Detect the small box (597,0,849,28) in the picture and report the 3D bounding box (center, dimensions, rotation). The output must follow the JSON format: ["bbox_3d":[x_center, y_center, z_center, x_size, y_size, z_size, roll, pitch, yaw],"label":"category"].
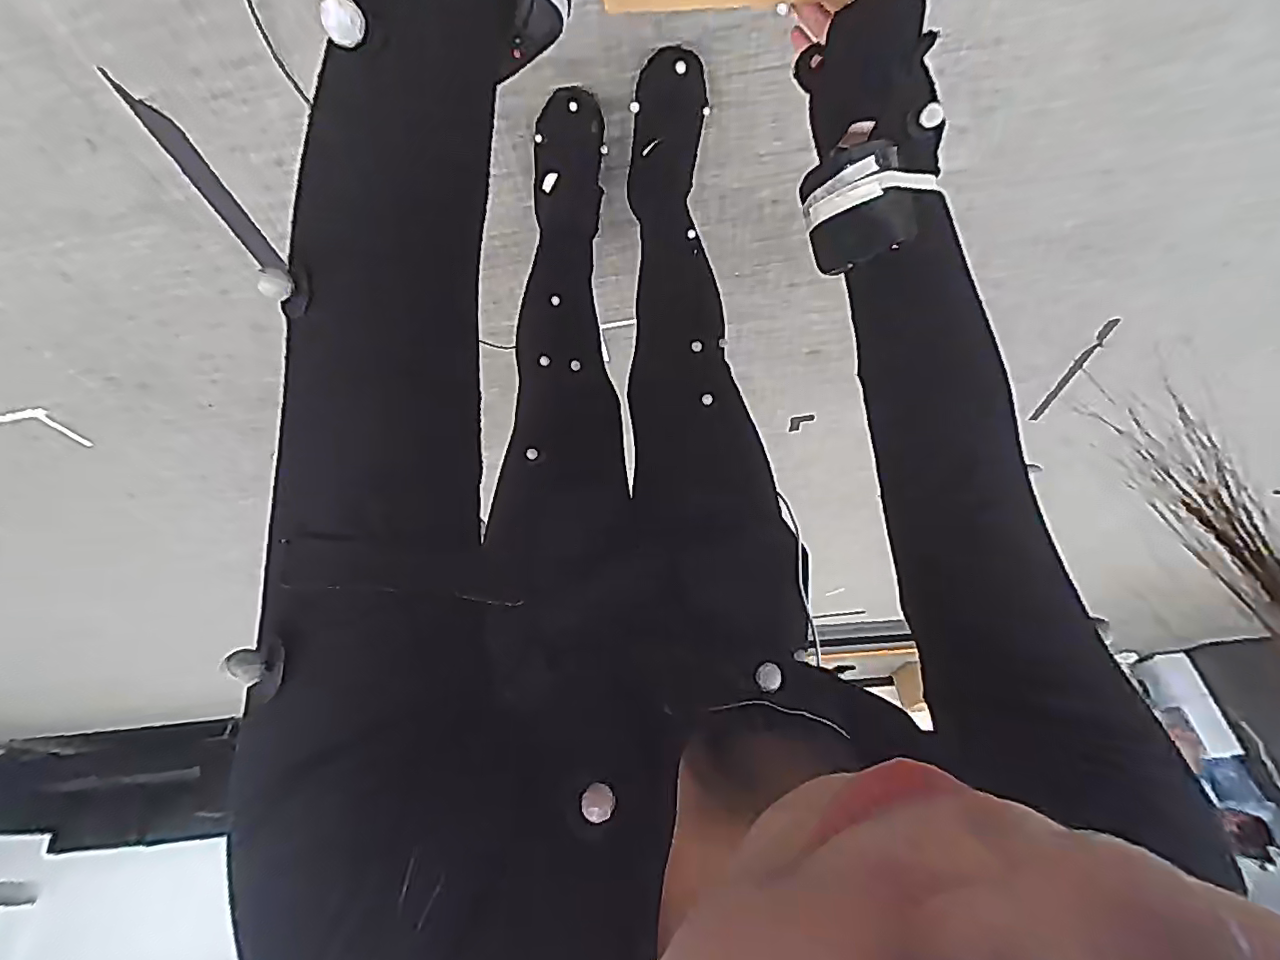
[{"bbox_3d":[0.049,-0.432,0.360,0.179,0.176,0.168,-6,144,-2],"label":"small box"}]
